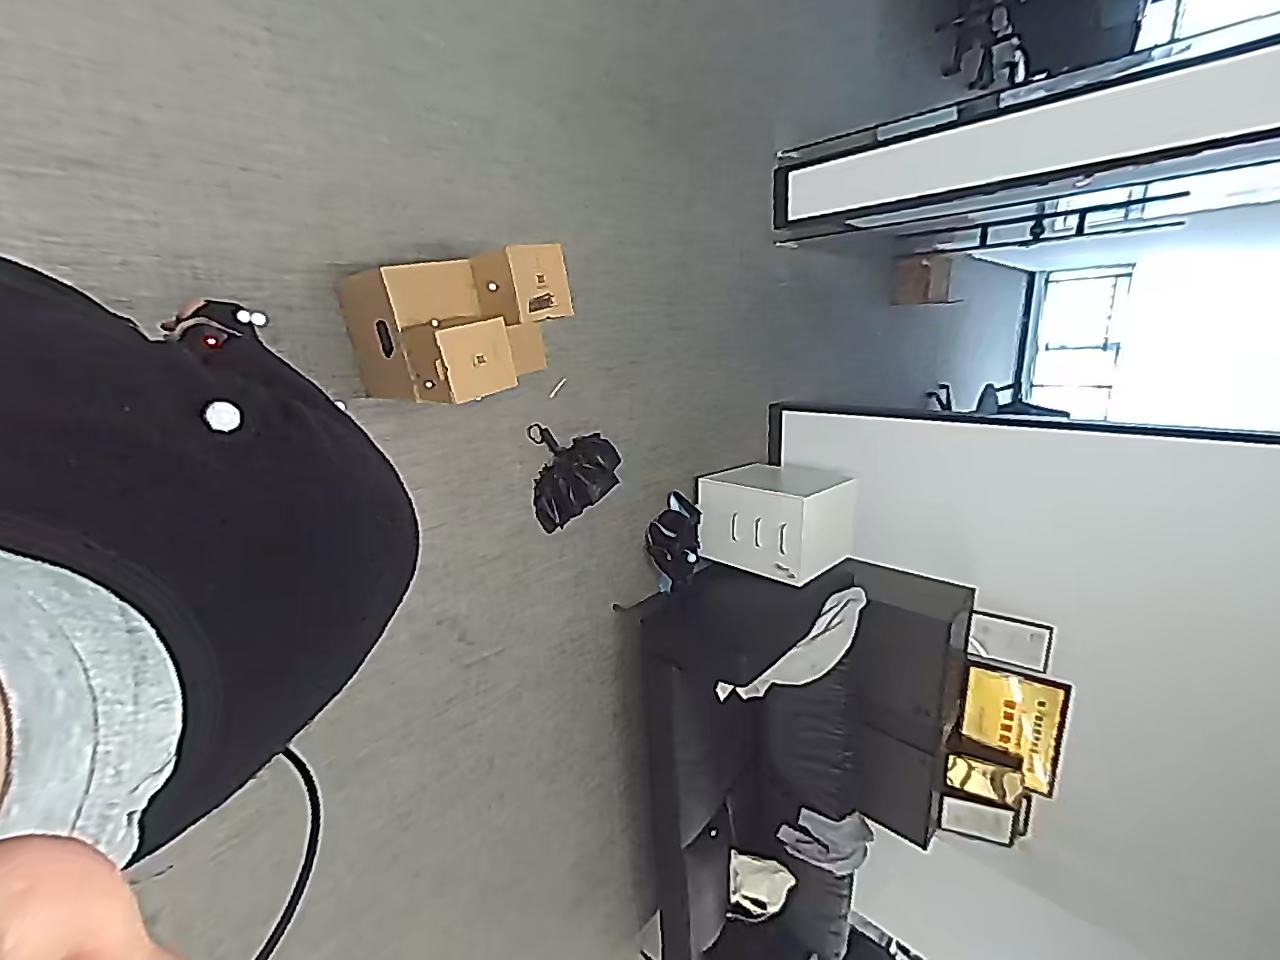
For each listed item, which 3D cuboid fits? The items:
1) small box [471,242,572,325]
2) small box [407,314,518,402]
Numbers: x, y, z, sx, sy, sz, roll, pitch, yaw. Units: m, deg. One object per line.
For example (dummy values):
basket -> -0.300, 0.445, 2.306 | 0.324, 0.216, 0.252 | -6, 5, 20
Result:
small box -> -0.298, -0.490, 1.363 | 0.168, 0.176, 0.179 | -25, 113, -41
small box -> -0.422, -0.291, 1.273 | 0.179, 0.176, 0.168 | -31, 123, -40
